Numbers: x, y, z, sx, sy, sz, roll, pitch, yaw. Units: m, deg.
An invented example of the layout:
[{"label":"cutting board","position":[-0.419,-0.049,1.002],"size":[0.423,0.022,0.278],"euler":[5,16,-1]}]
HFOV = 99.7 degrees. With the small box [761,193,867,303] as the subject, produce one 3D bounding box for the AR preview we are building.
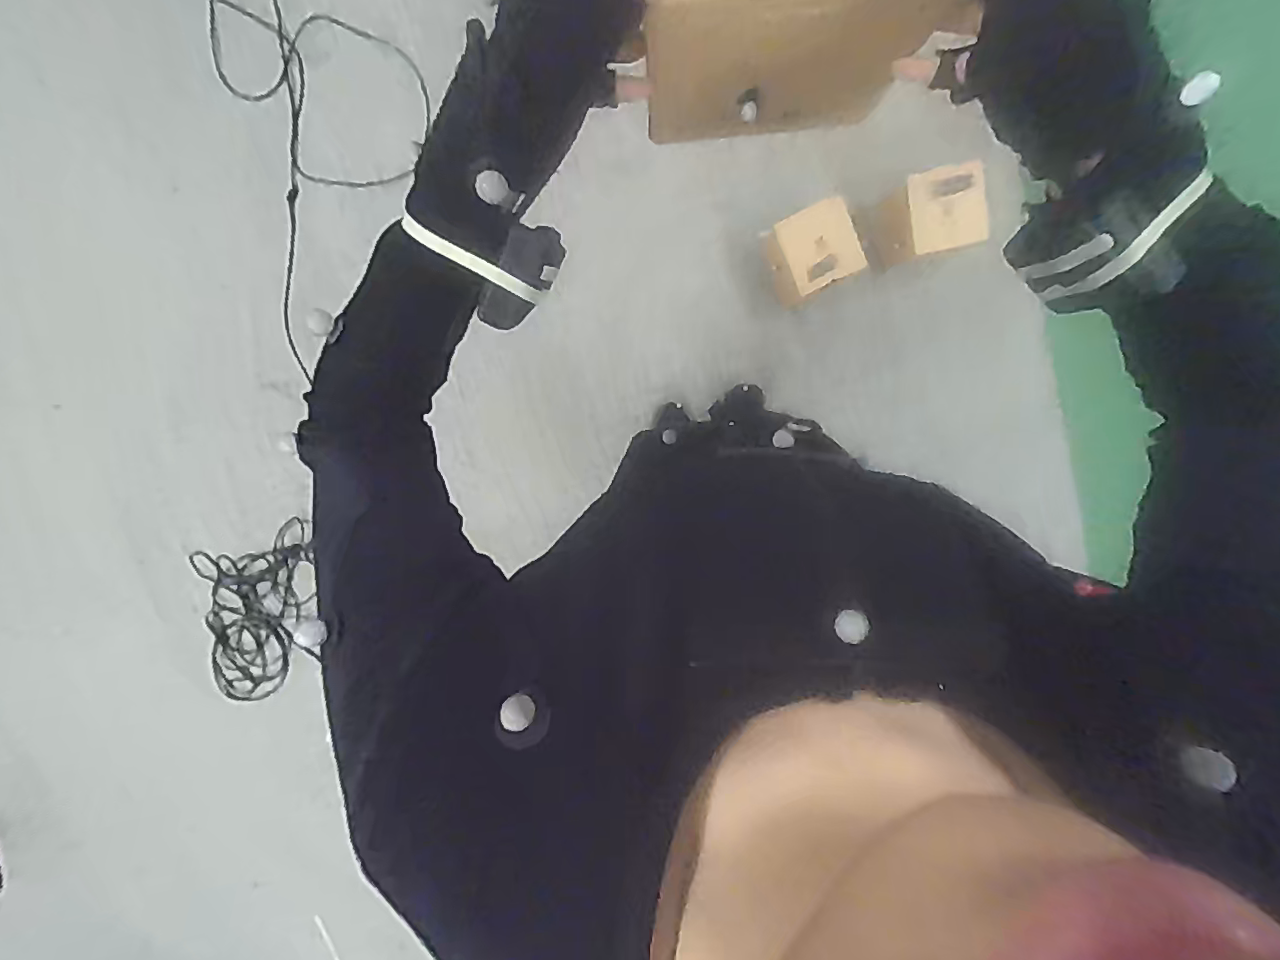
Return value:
[{"label":"small box","position":[0.407,-0.537,1.289],"size":[0.168,0.176,0.179],"euler":[-24,96,5]}]
